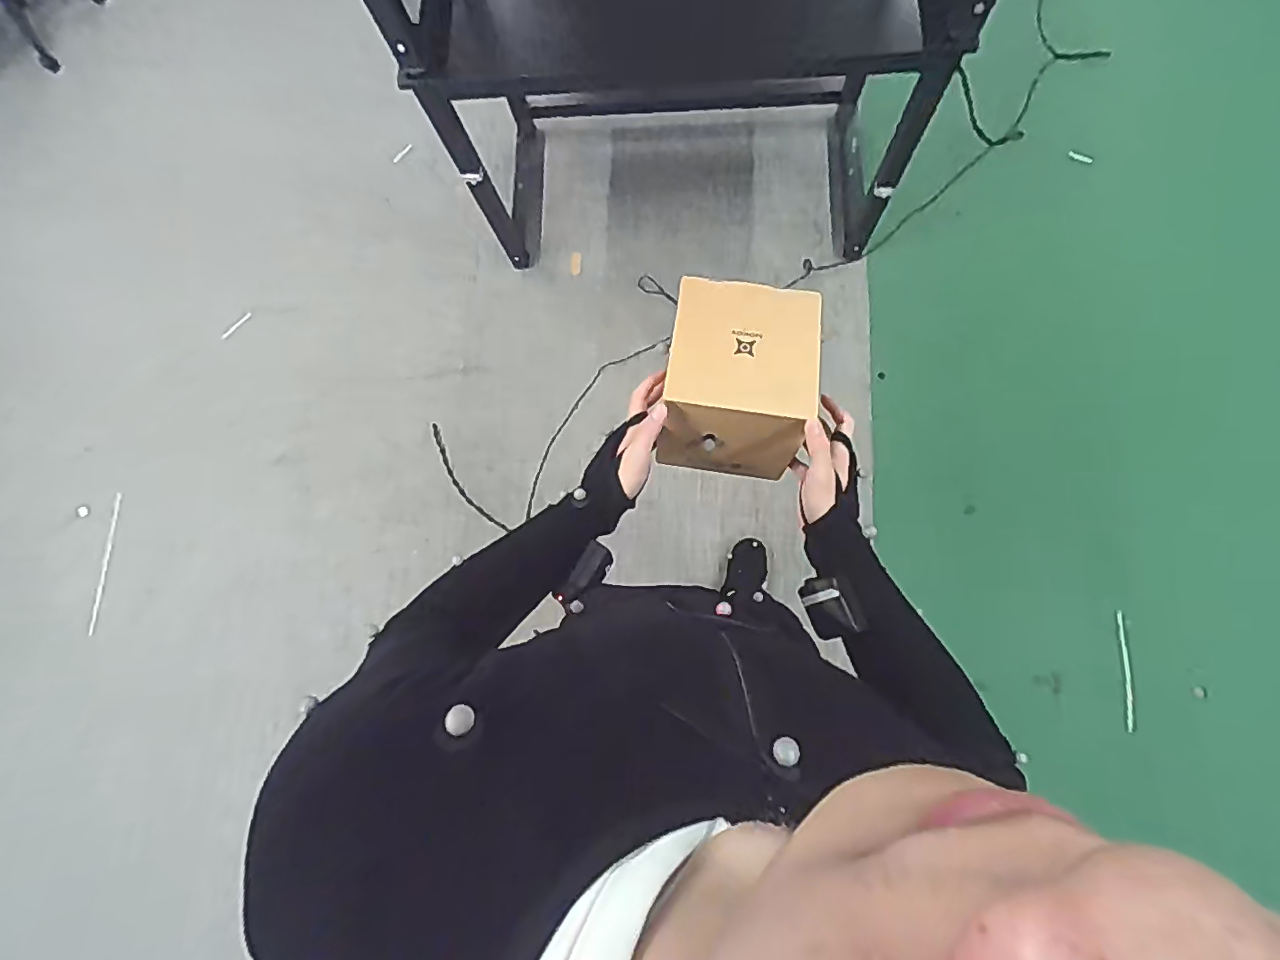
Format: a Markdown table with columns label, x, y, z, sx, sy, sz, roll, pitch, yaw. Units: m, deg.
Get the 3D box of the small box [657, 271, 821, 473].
| label | x | y | z | sx | sy | sz | roll | pitch | yaw |
| --- | --- | --- | --- | --- | --- | --- | --- | --- | --- |
| small box | 0.115 | -0.124 | 0.667 | 0.168 | 0.176 | 0.179 | 8 | 67 | 4 |
